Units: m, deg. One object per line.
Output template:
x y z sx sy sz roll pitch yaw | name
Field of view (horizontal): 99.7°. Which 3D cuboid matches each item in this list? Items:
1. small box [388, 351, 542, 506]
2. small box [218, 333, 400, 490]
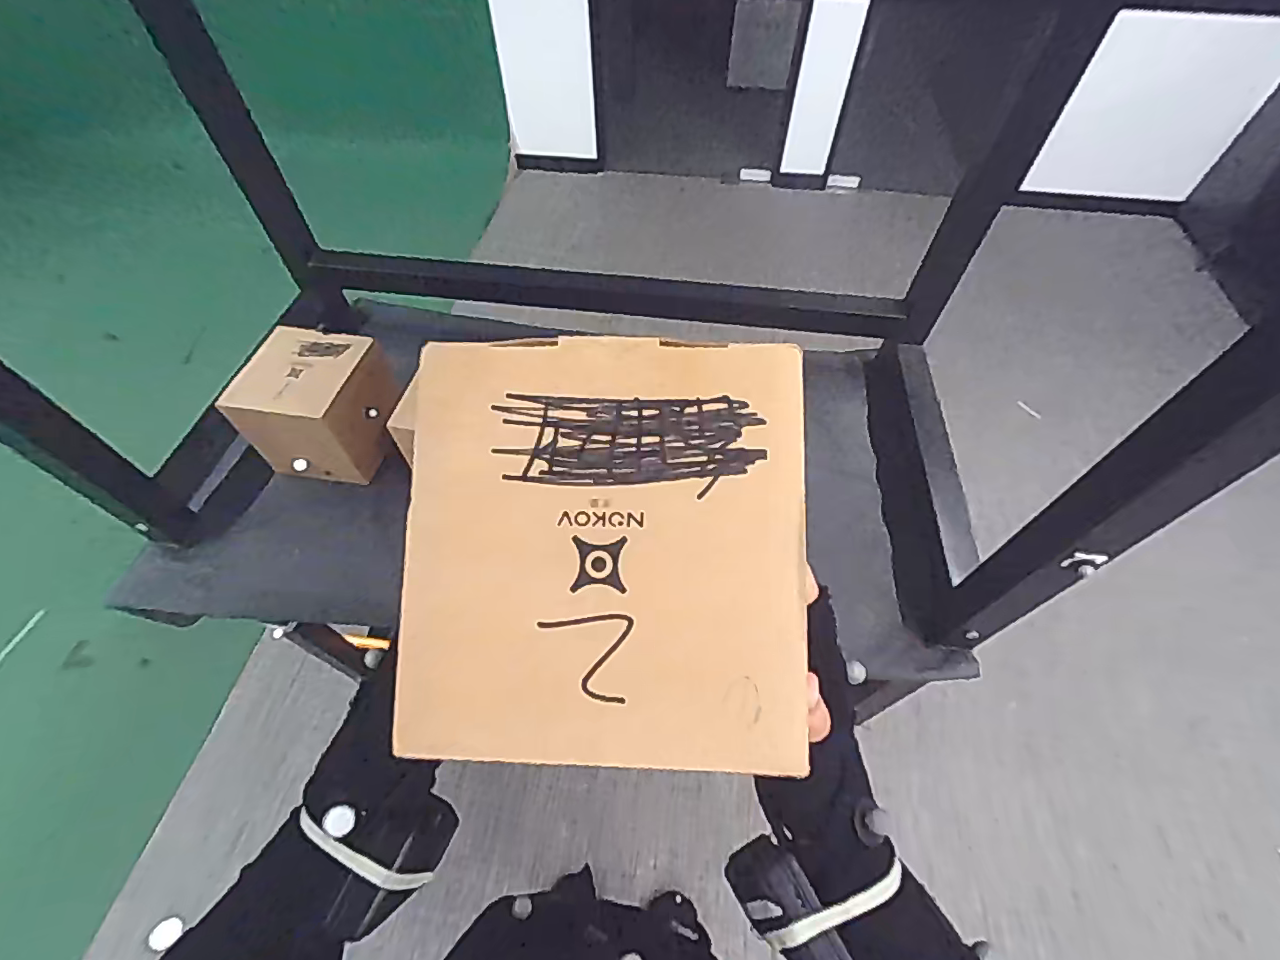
-0.261 -0.078 0.861 0.168 0.176 0.179 7 54 5 | small box
-0.512 -0.110 0.878 0.168 0.176 0.179 8 55 5 | small box
